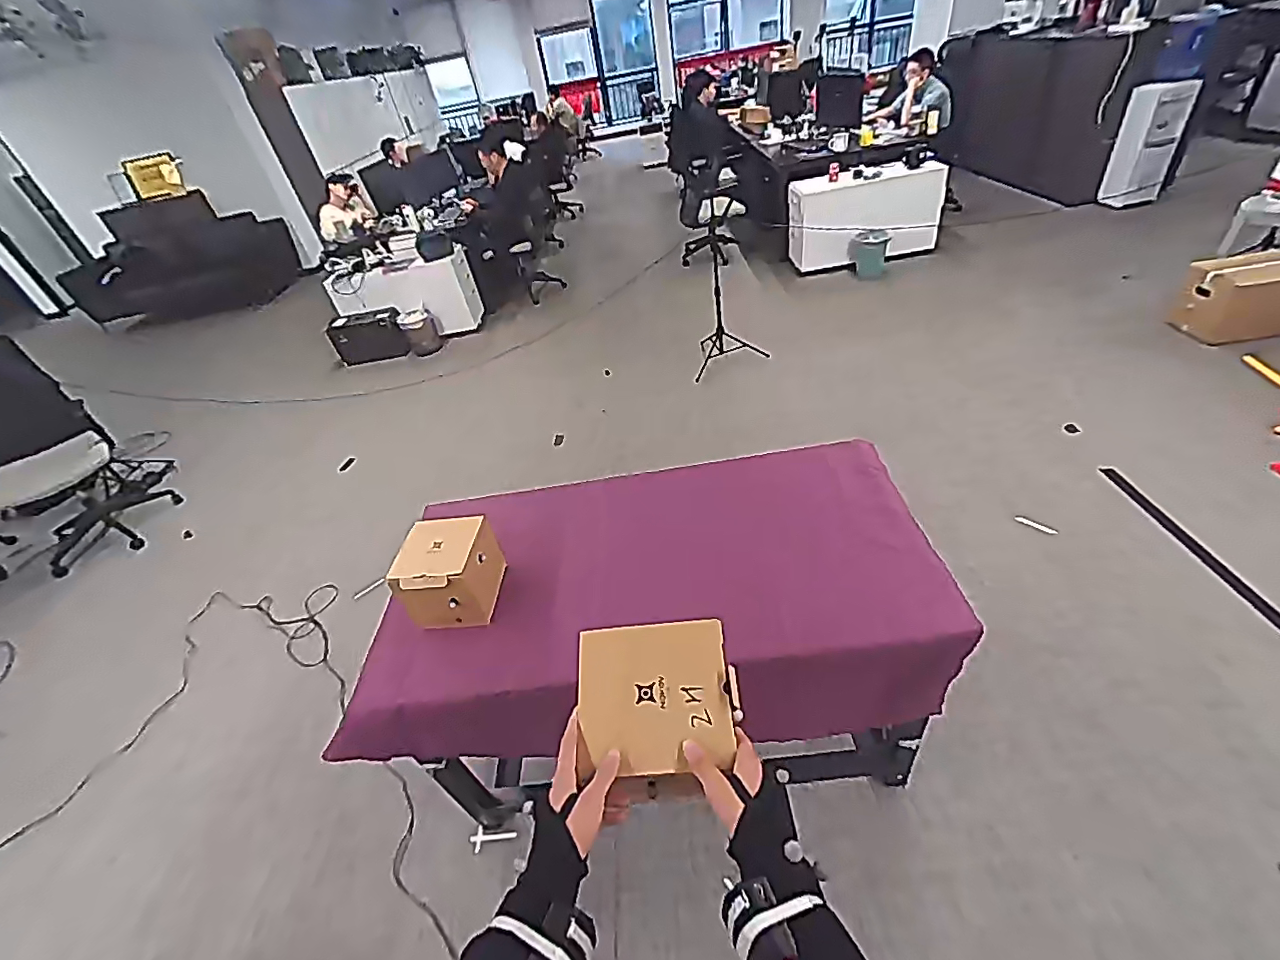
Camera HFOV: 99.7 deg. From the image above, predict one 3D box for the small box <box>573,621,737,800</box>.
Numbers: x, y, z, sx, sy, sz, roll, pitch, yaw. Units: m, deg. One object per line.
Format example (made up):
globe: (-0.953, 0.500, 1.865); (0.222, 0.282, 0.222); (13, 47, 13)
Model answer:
small box: (0.024, 0.291, 0.671); (0.179, 0.176, 0.168); (-5, 52, 4)

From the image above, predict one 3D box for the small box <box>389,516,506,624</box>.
small box: (-0.412, 0.204, 1.194); (0.168, 0.176, 0.179); (-4, 39, 7)
